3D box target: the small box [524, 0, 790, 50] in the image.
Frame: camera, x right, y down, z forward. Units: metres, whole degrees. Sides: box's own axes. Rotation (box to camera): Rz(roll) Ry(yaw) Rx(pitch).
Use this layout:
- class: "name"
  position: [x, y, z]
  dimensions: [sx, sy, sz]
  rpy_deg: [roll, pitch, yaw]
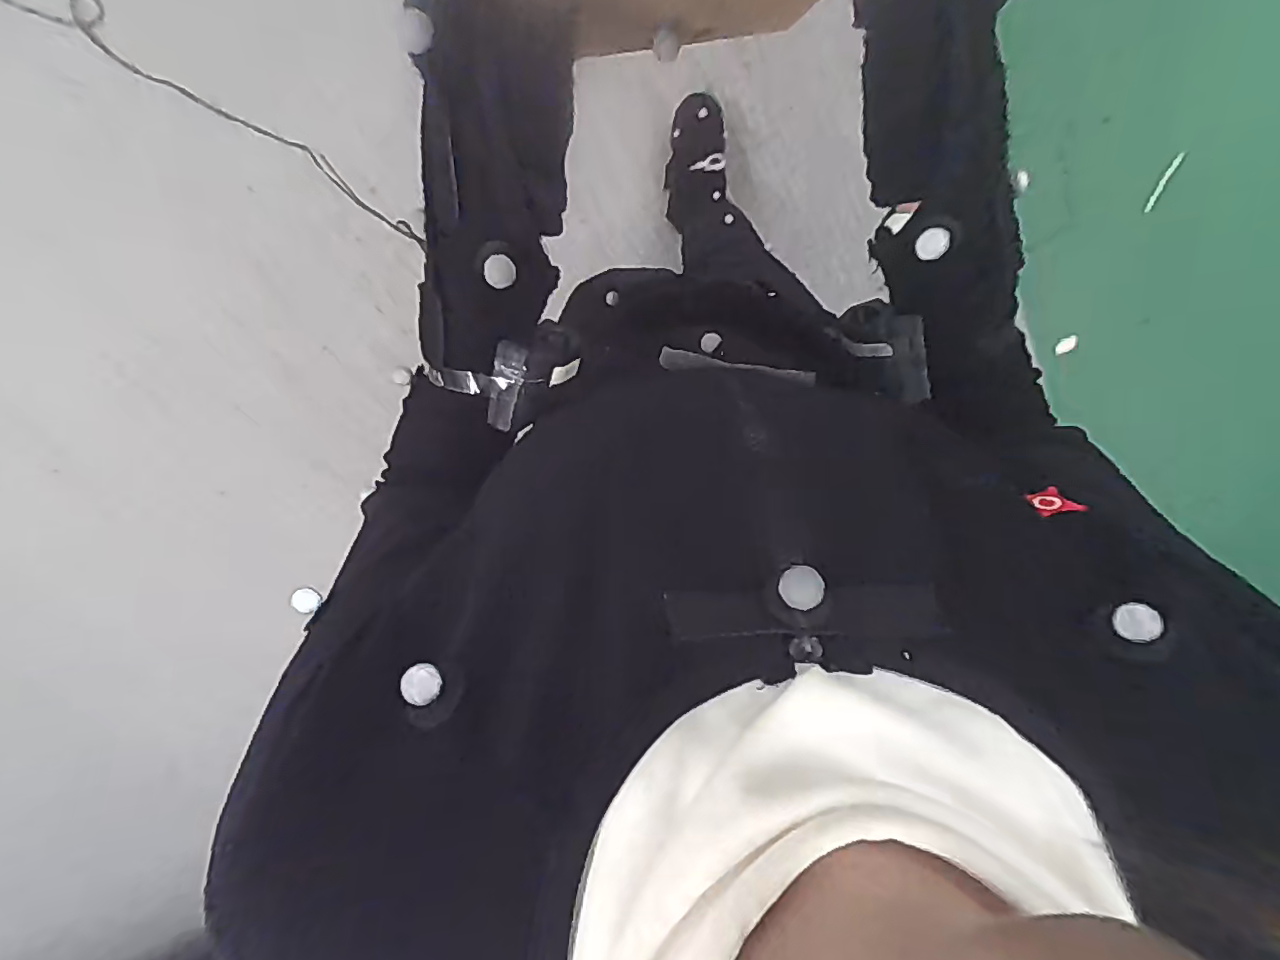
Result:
- class: "small box"
  position: [0.008, -0.328, 0.236]
  dimensions: [0.168, 0.176, 0.179]
  rpy_deg: [-9, 116, -1]
